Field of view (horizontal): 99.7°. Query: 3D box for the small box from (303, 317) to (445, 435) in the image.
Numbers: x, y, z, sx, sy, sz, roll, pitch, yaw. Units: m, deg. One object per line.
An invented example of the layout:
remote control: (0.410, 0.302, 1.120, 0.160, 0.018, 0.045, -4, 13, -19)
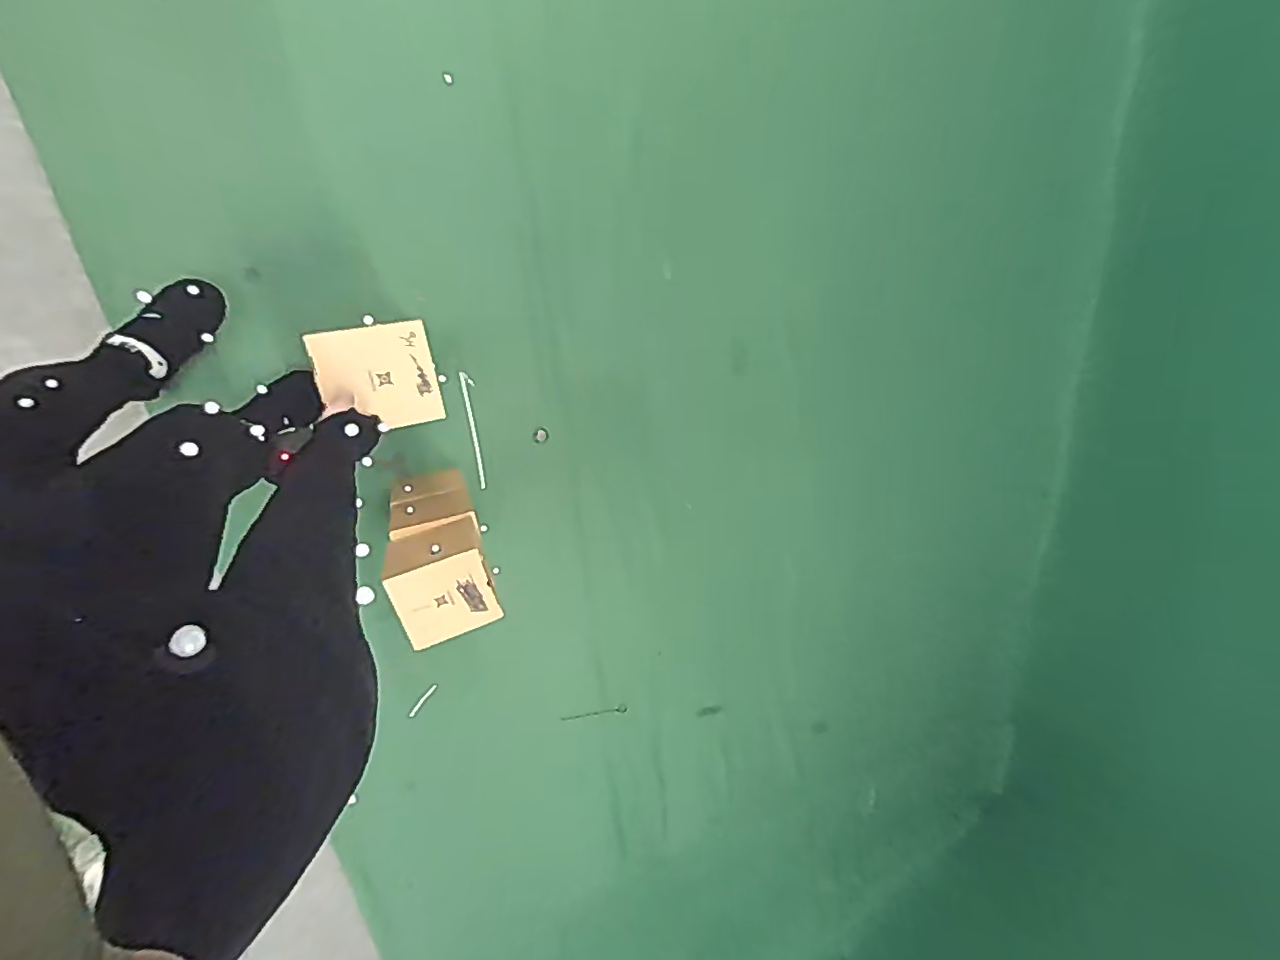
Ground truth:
small box: (-0.446, -0.185, 0.935, 0.179, 0.176, 0.168, -14, 111, -18)

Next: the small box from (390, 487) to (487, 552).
small box: (-0.449, 0.132, 1.225, 0.179, 0.176, 0.168, -14, 113, -17)

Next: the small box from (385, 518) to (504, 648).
small box: (-0.390, 0.196, 1.086, 0.179, 0.176, 0.168, -19, 114, -13)
